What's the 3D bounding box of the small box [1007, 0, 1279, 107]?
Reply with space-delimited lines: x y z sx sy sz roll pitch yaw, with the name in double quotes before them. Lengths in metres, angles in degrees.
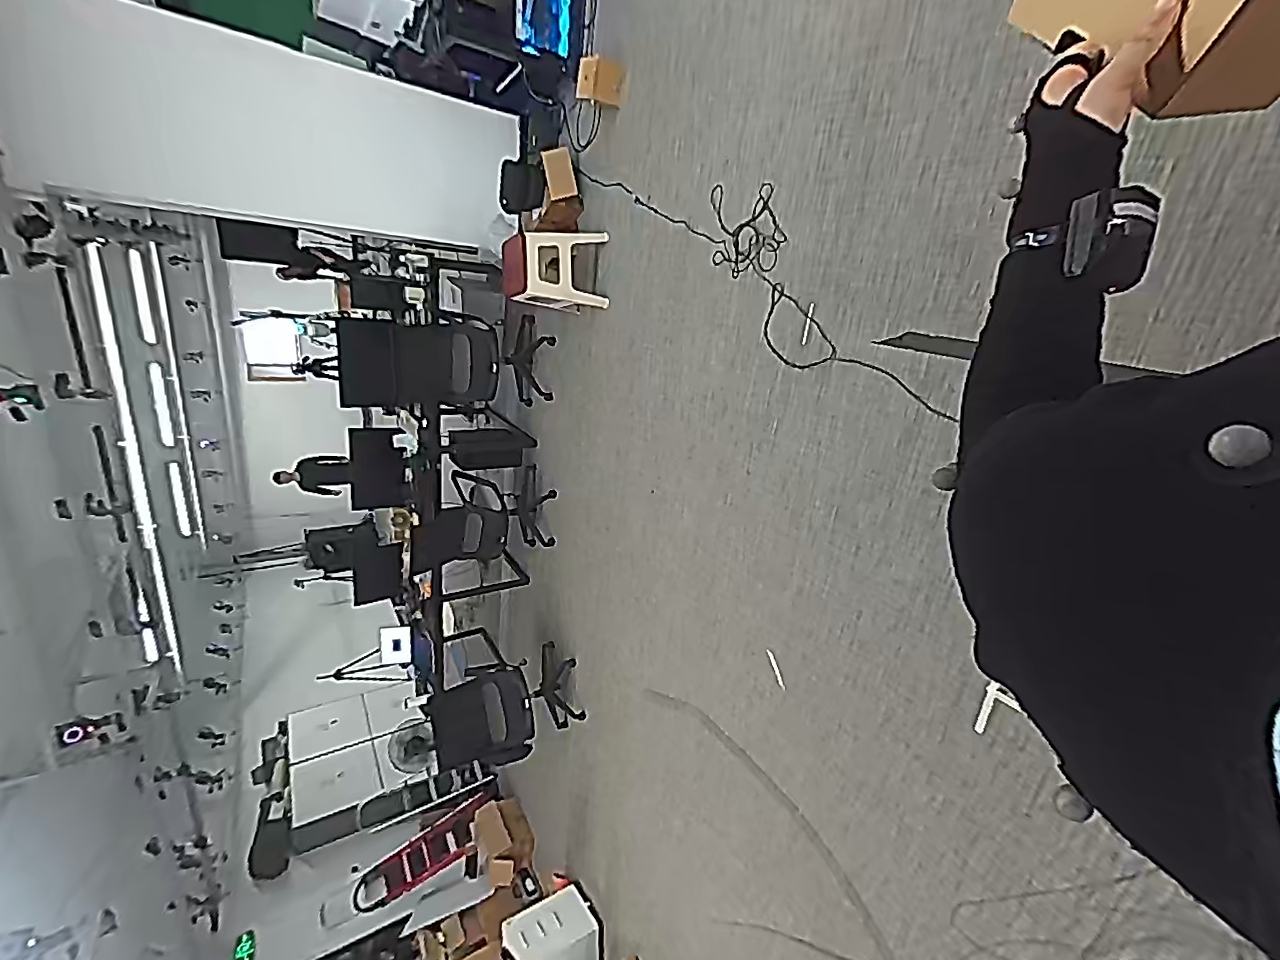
"small box" 0.434 -0.408 0.390 0.179 0.176 0.168 106 143 -58
